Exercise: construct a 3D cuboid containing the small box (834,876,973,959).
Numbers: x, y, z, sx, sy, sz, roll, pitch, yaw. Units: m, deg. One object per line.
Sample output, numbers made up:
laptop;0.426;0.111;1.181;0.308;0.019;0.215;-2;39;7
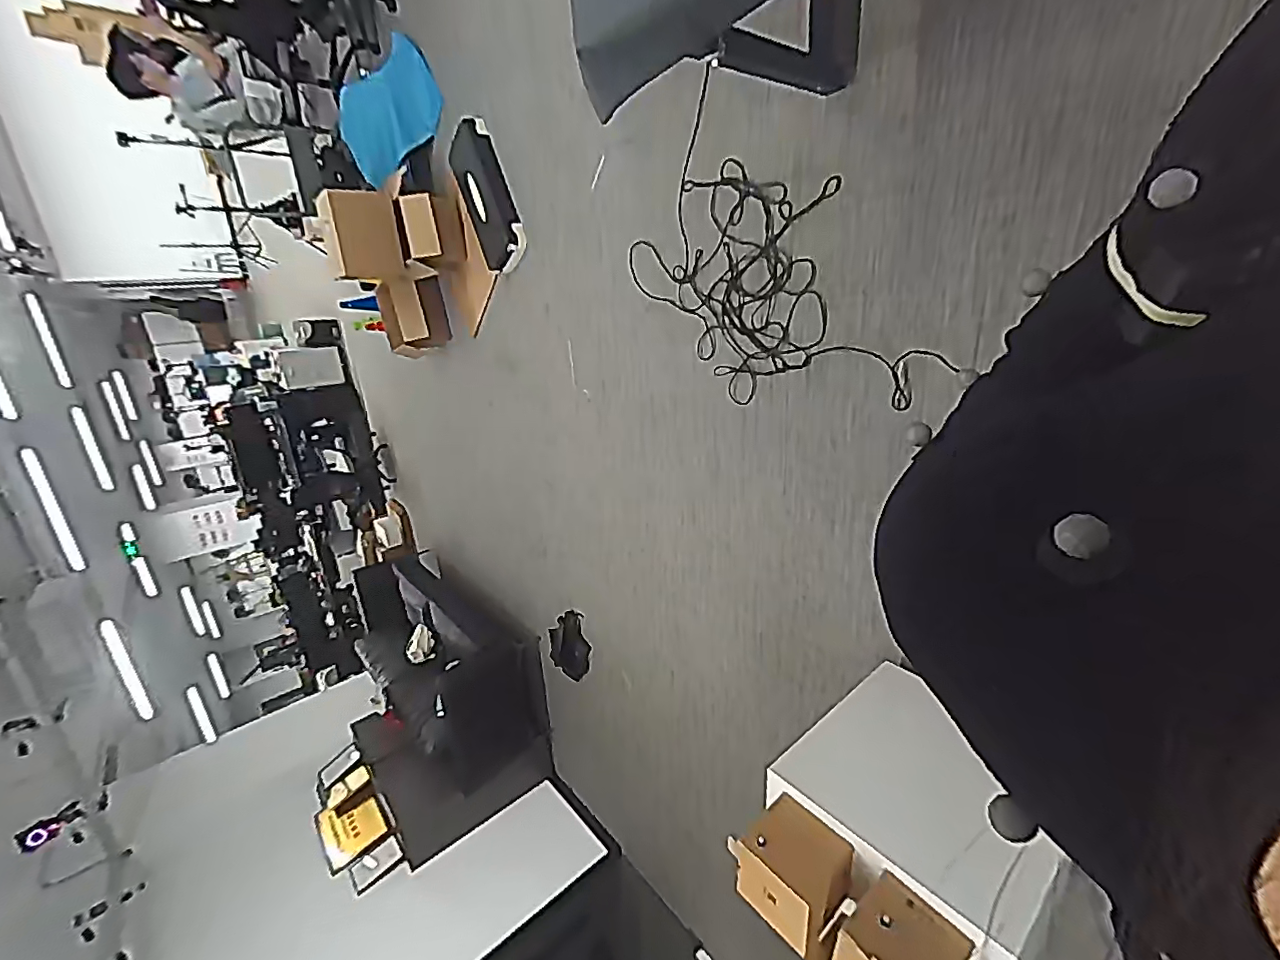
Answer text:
small box;0.469;0.876;0.974;0.168;0.176;0.179;26;126;46
